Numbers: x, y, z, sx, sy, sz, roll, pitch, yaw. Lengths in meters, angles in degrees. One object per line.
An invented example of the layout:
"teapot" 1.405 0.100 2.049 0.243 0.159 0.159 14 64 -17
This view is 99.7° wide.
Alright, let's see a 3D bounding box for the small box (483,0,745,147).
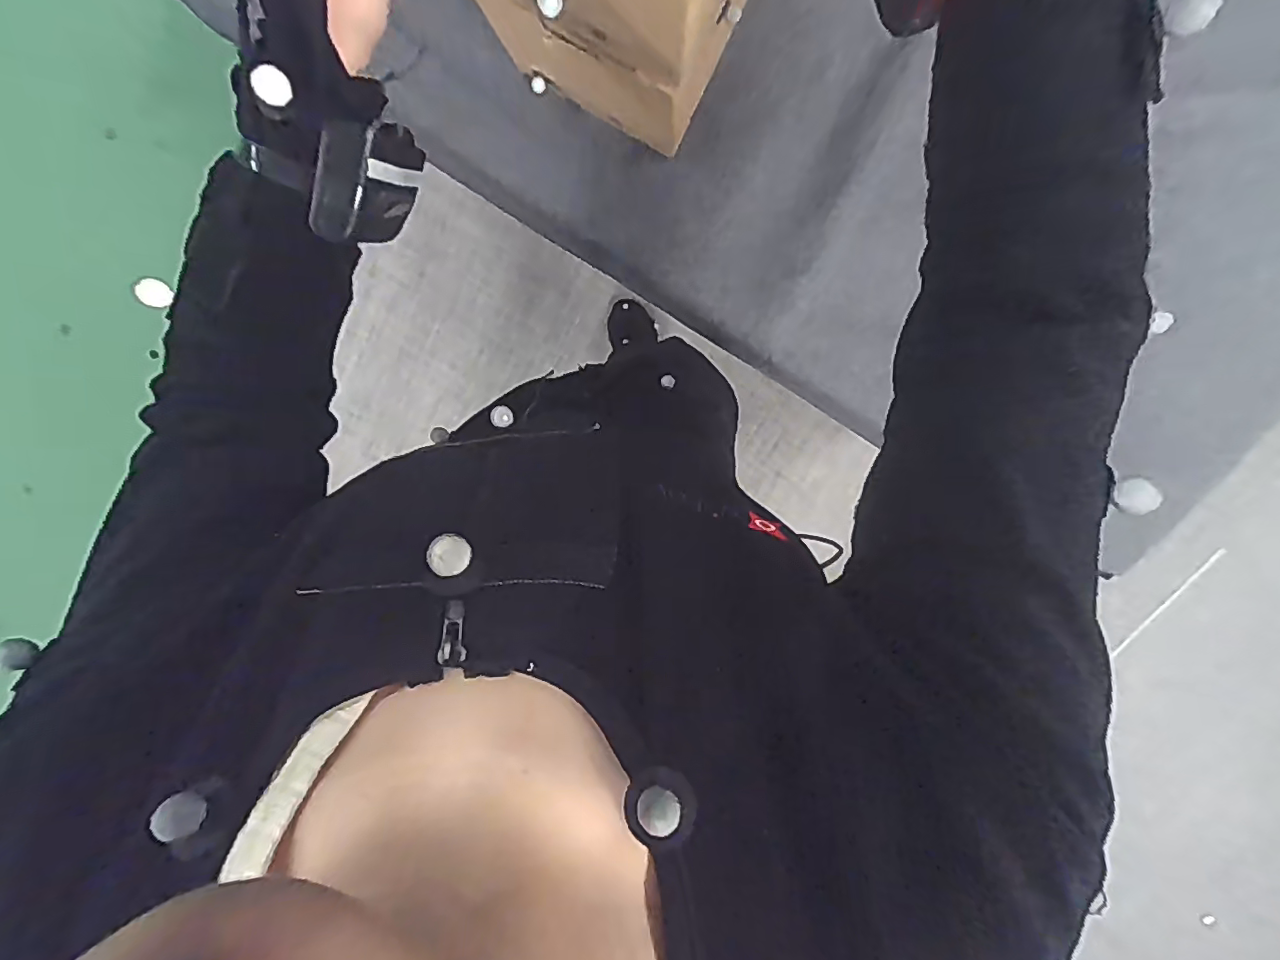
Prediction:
"small box" -0.006 -0.395 0.411 0.168 0.176 0.179 27 106 -6
